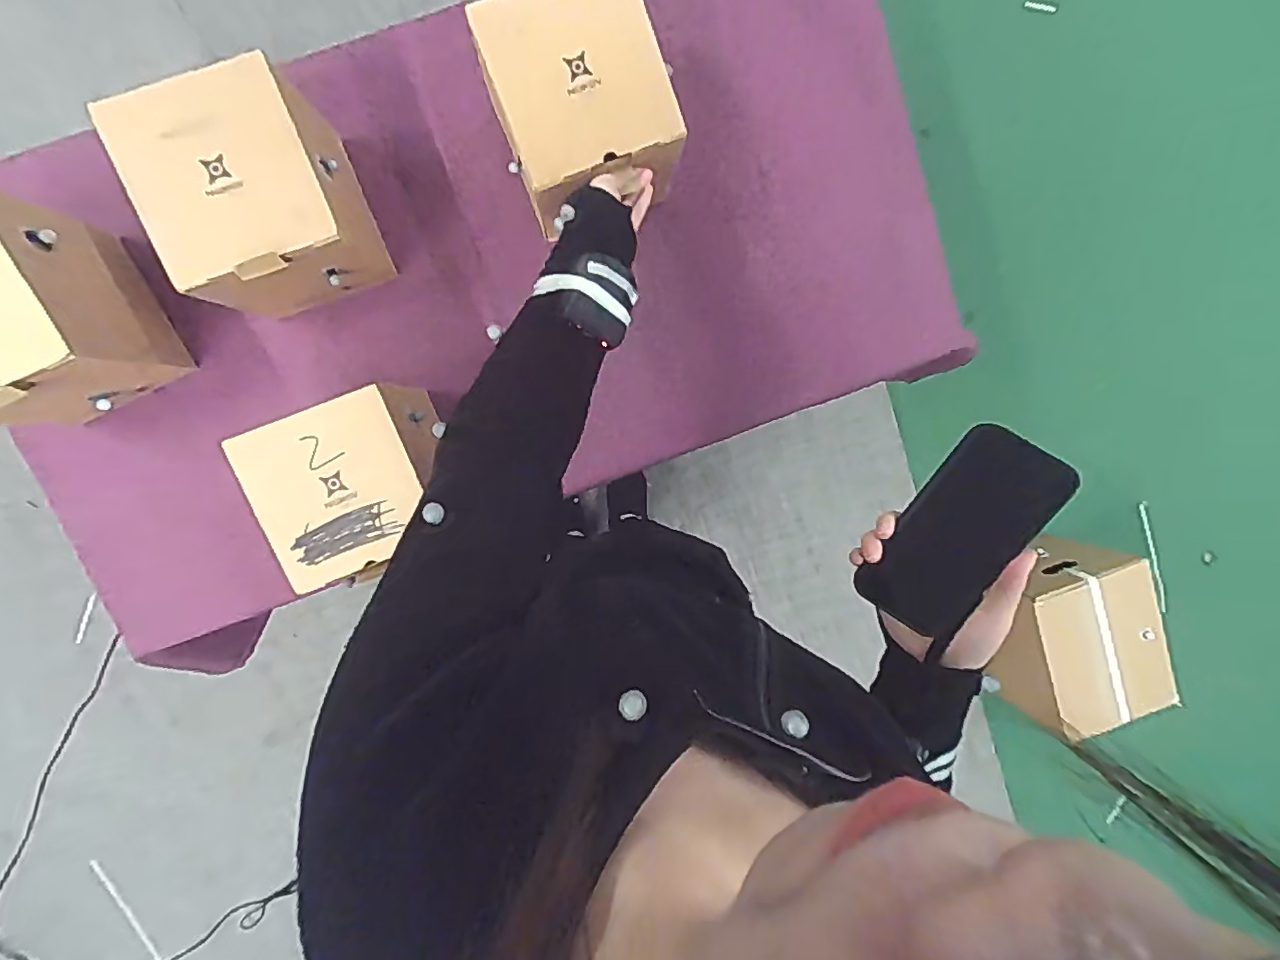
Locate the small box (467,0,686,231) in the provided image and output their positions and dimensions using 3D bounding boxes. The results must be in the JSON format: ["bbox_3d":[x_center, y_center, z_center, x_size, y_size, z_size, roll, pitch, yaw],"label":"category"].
[{"bbox_3d":[-0.067,-0.411,0.601,0.168,0.176,0.179,-22,100,-1],"label":"small box"}]

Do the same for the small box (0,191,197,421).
[{"bbox_3d":[-0.651,-0.171,0.584,0.168,0.176,0.179,-26,99,-1],"label":"small box"}]

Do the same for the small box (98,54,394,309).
[{"bbox_3d":[-0.399,-0.299,0.589,0.168,0.176,0.179,-20,99,-3],"label":"small box"}]
